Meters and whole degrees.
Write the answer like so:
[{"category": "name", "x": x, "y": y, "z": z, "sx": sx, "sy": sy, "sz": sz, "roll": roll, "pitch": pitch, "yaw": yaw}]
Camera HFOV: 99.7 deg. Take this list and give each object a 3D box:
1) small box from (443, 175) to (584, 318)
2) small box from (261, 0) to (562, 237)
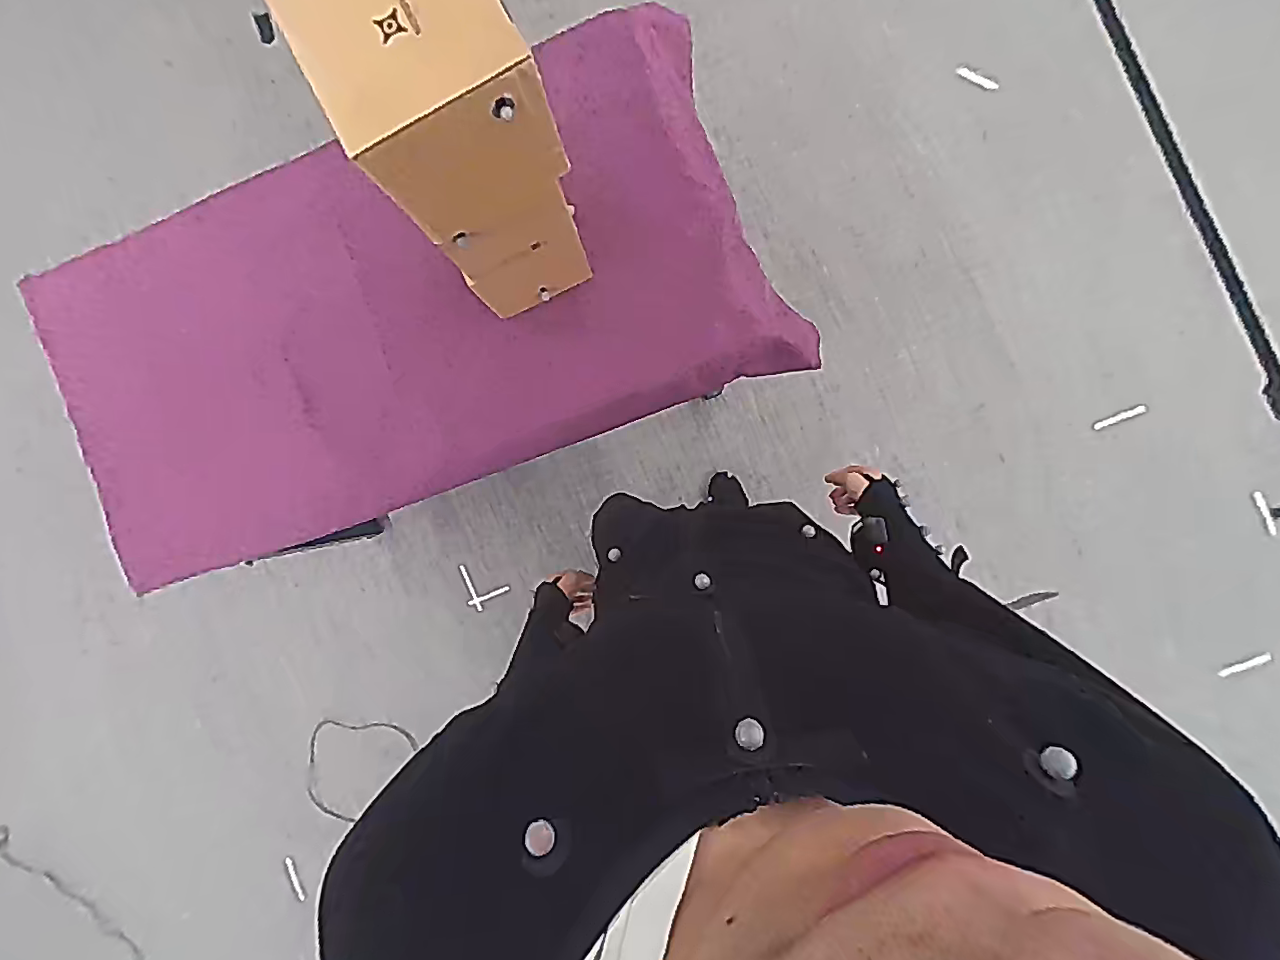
[{"category": "small box", "x": -0.198, "y": -0.381, "z": 0.844, "sx": 0.179, "sy": 0.176, "sz": 0.168, "roll": -25, "pitch": 88, "yaw": 2}, {"category": "small box", "x": -0.197, "y": -0.371, "z": 0.515, "sx": 0.179, "sy": 0.176, "sz": 0.168, "roll": -28, "pitch": 88, "yaw": 2}]
